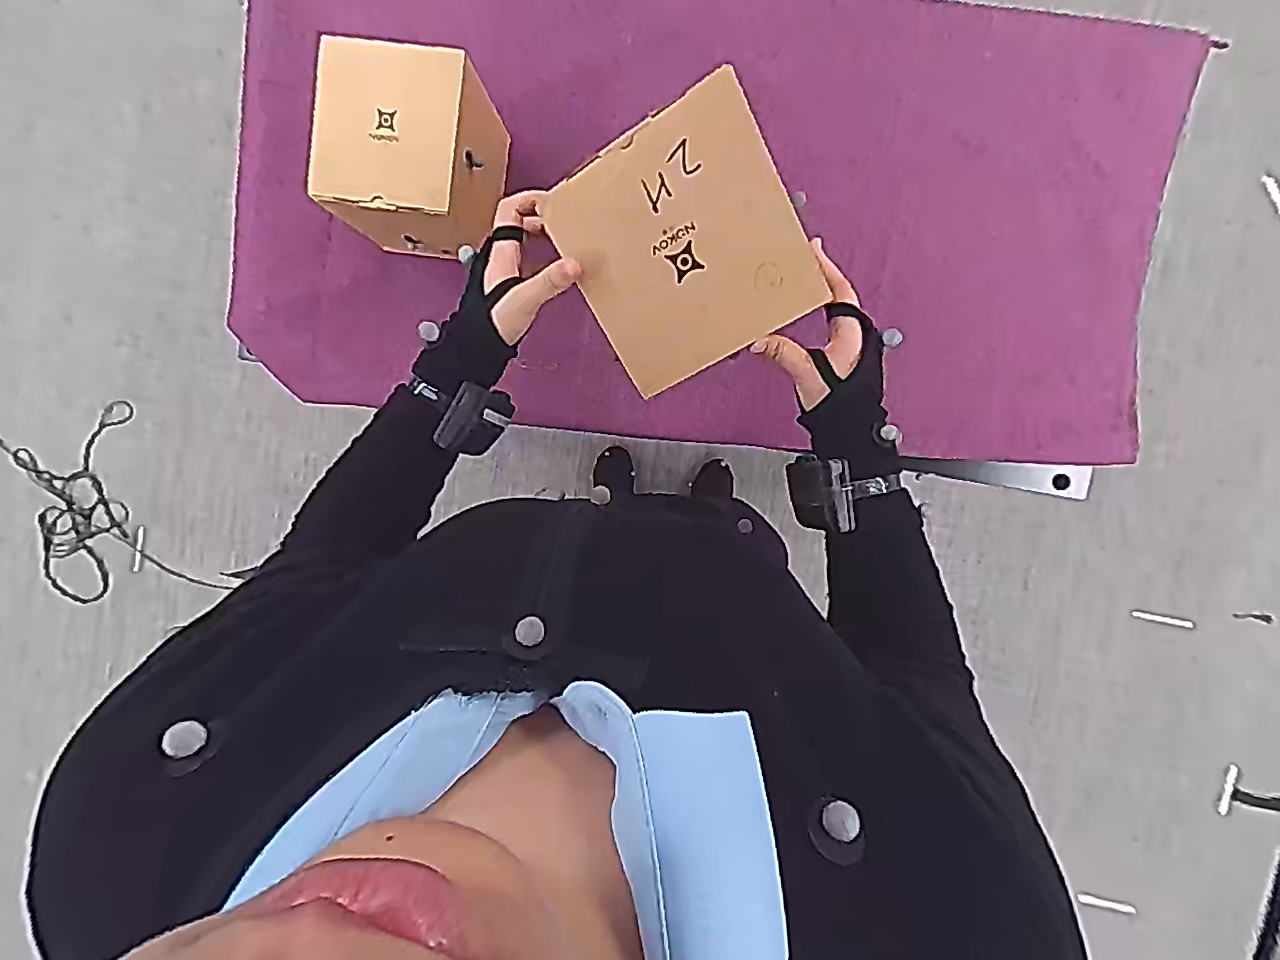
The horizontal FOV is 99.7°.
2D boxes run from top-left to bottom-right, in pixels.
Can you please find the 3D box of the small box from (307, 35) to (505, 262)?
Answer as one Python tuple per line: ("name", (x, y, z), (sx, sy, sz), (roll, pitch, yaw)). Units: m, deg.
("small box", (-0.277, -0.396, 0.675), (0.168, 0.176, 0.179), (8, 95, 2))
